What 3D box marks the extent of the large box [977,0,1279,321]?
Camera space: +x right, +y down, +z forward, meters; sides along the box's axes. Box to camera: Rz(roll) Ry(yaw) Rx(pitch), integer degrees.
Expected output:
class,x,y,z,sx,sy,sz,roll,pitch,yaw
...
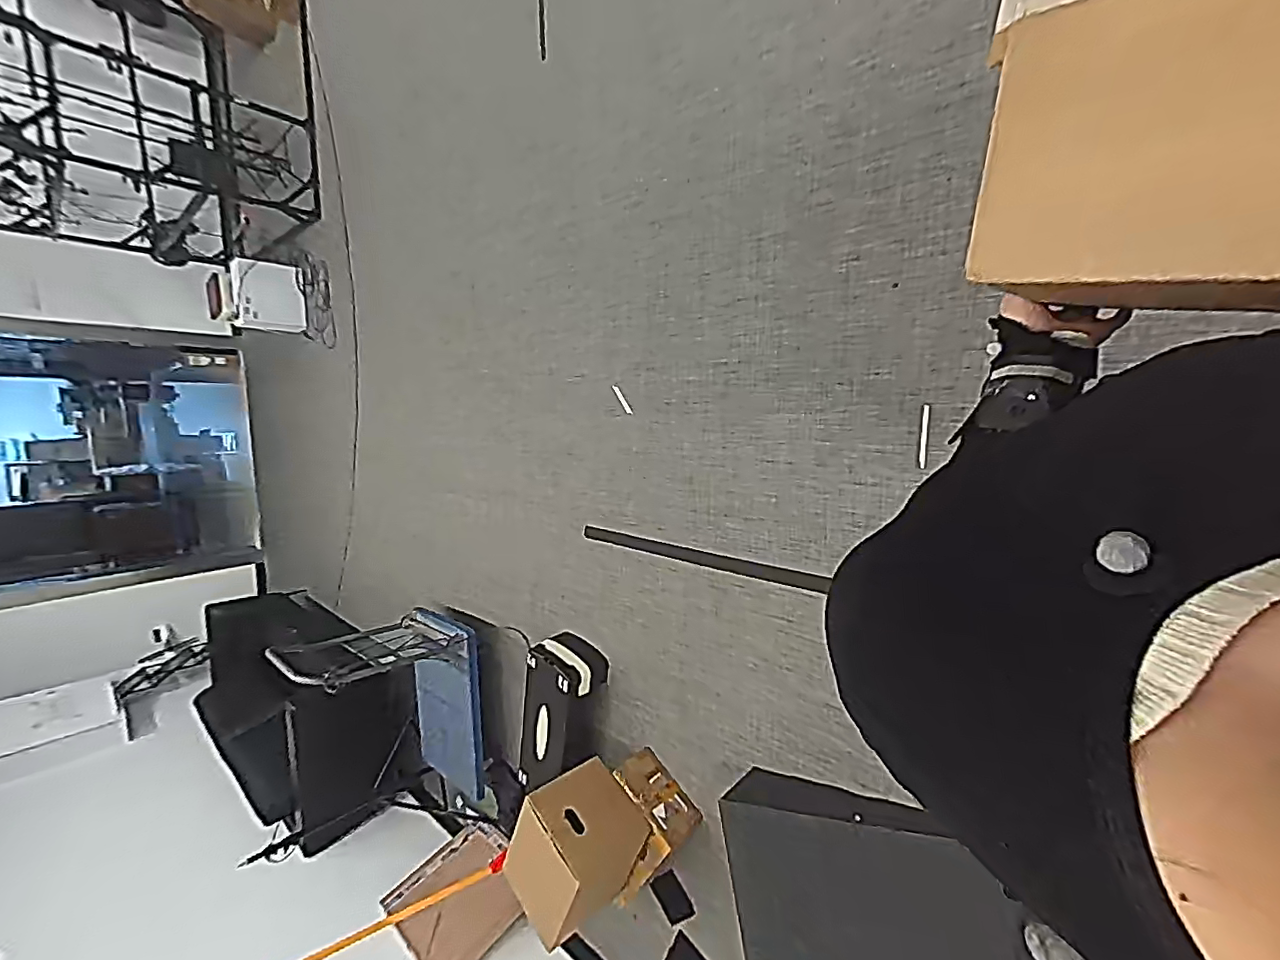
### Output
class,x,y,z,sx,sy,sz,roll,pitch,yaw
large box,0.471,-0.255,0.292,0.408,0.320,0.320,17,112,42
